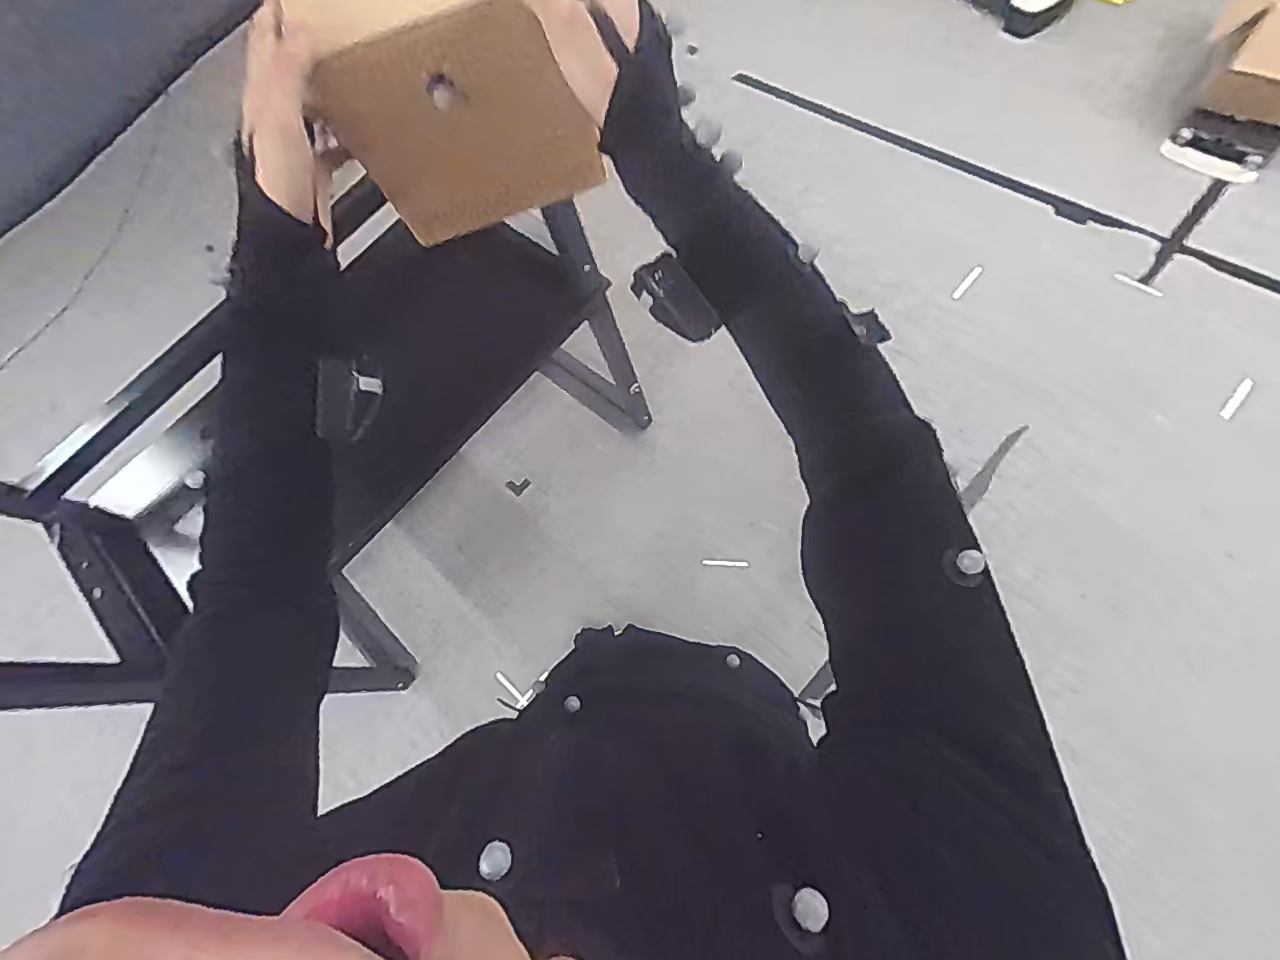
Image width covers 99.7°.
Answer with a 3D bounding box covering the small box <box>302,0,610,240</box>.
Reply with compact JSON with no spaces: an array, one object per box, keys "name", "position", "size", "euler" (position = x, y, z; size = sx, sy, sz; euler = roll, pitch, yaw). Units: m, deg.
[{"name":"small box","position":[-0.129,-0.327,0.423],"size":[0.179,0.176,0.168],"euler":[-17,76,4]}]
